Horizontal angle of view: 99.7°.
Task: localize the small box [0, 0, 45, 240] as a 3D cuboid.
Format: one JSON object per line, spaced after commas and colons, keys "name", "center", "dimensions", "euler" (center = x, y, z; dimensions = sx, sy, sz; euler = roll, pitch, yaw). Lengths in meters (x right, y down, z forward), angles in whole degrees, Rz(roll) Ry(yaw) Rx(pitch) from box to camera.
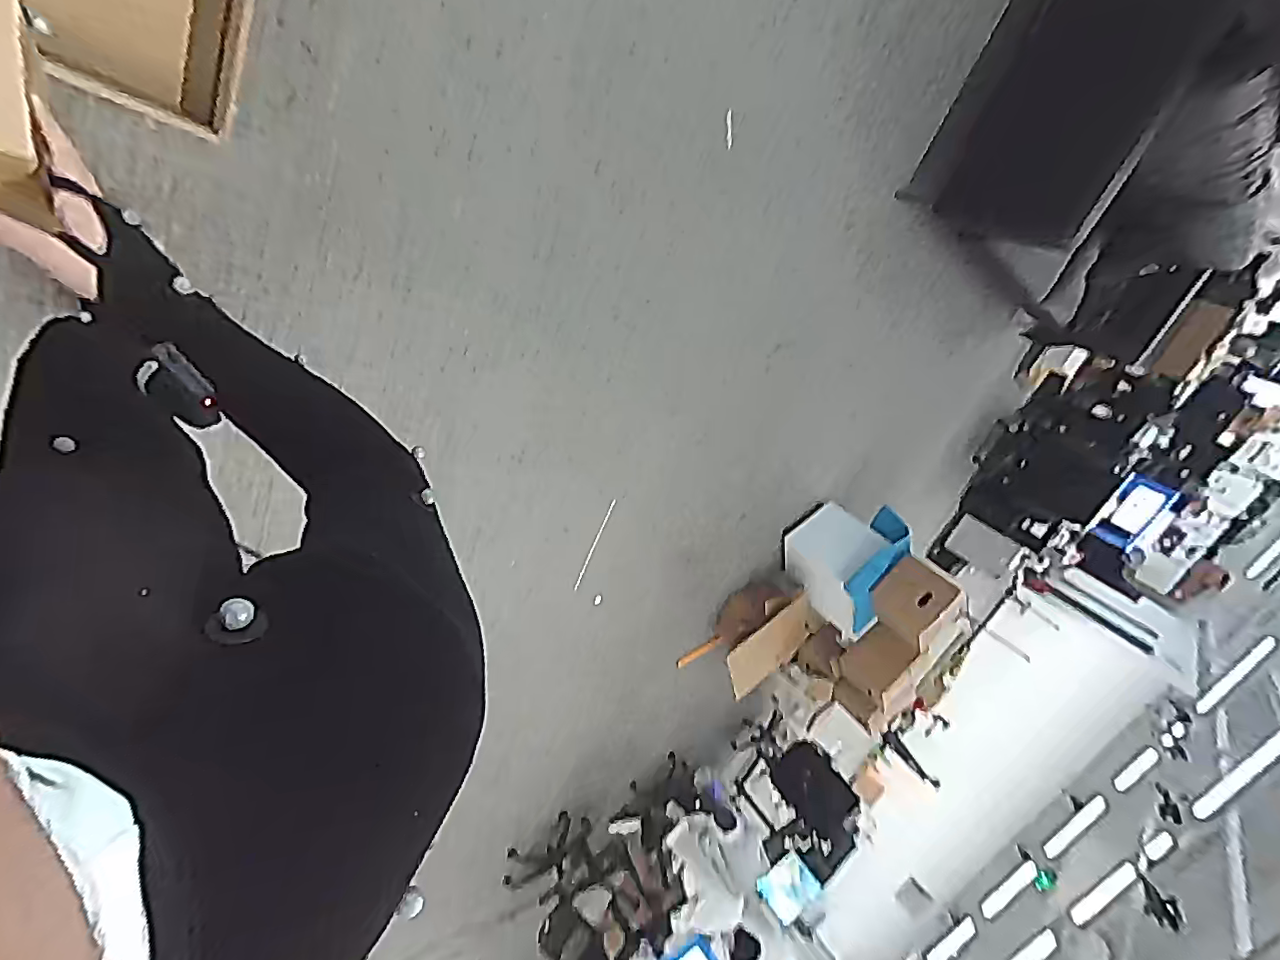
{"name": "small box", "center": [-0.593, -0.310, 0.411], "dimensions": [0.168, 0.176, 0.179], "euler": [-8, 89, -43]}
